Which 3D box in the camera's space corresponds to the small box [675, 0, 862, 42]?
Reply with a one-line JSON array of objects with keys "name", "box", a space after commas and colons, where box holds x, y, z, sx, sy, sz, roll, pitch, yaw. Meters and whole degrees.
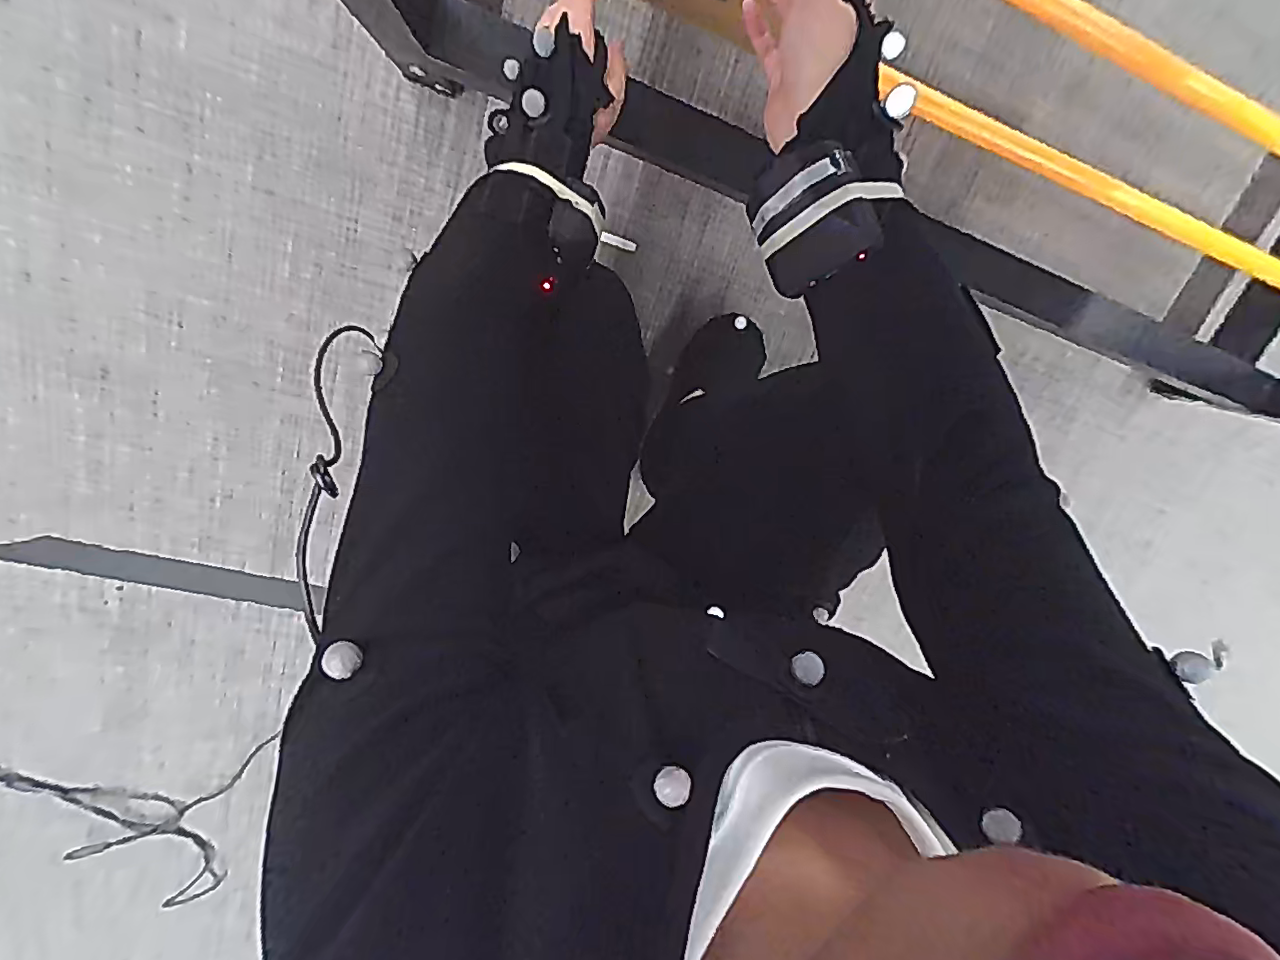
[{"name": "small box", "box": [0.096, -0.464, 0.397, 0.179, 0.176, 0.168, 14, 112, -15]}]
